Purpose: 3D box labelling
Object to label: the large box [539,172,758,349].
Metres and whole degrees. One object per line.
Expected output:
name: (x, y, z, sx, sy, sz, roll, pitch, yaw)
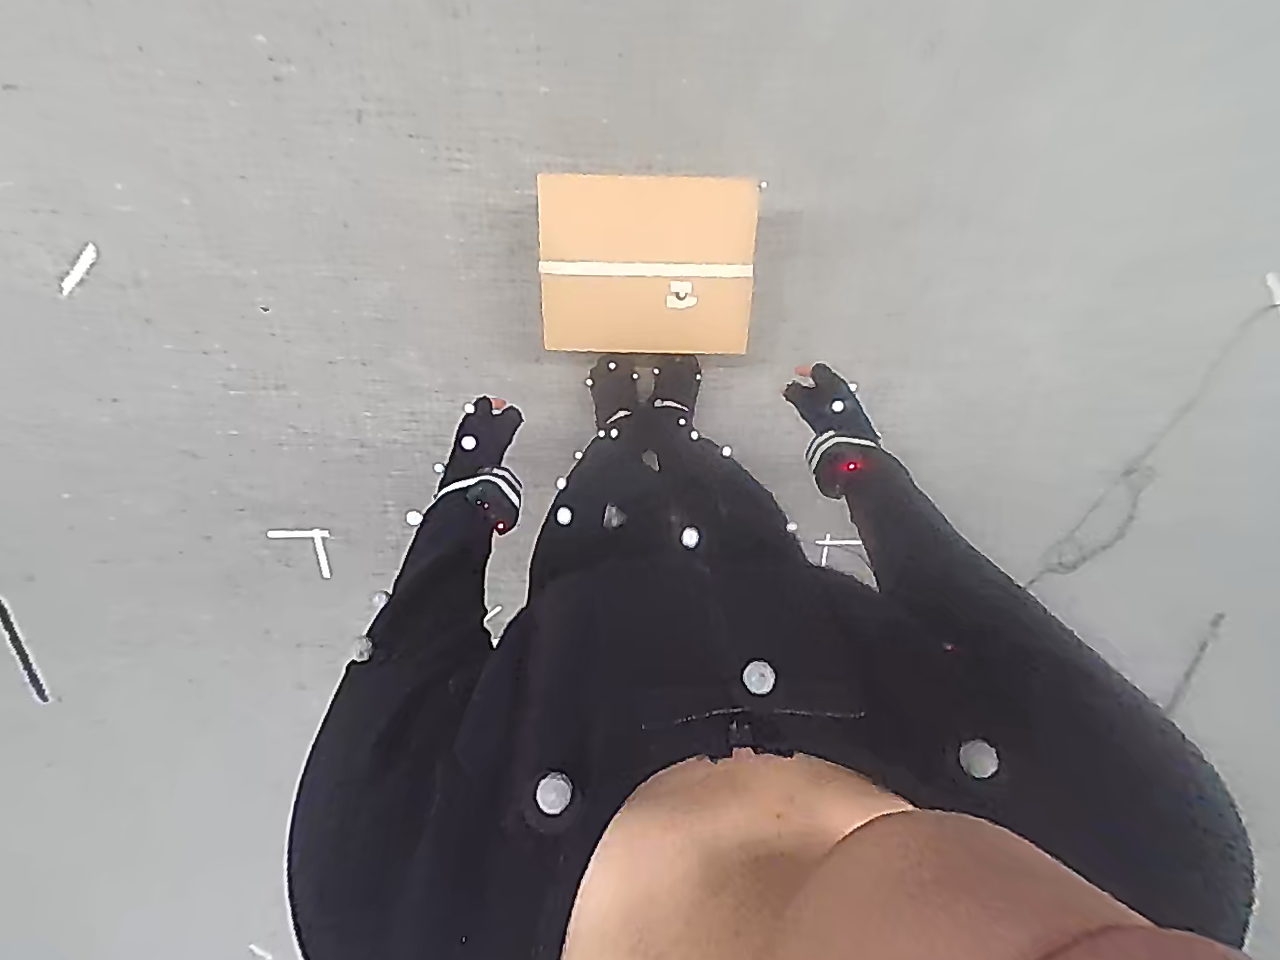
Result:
large box: (0.011, -0.458, 1.163, 0.408, 0.320, 0.320, 0, 111, -2)
